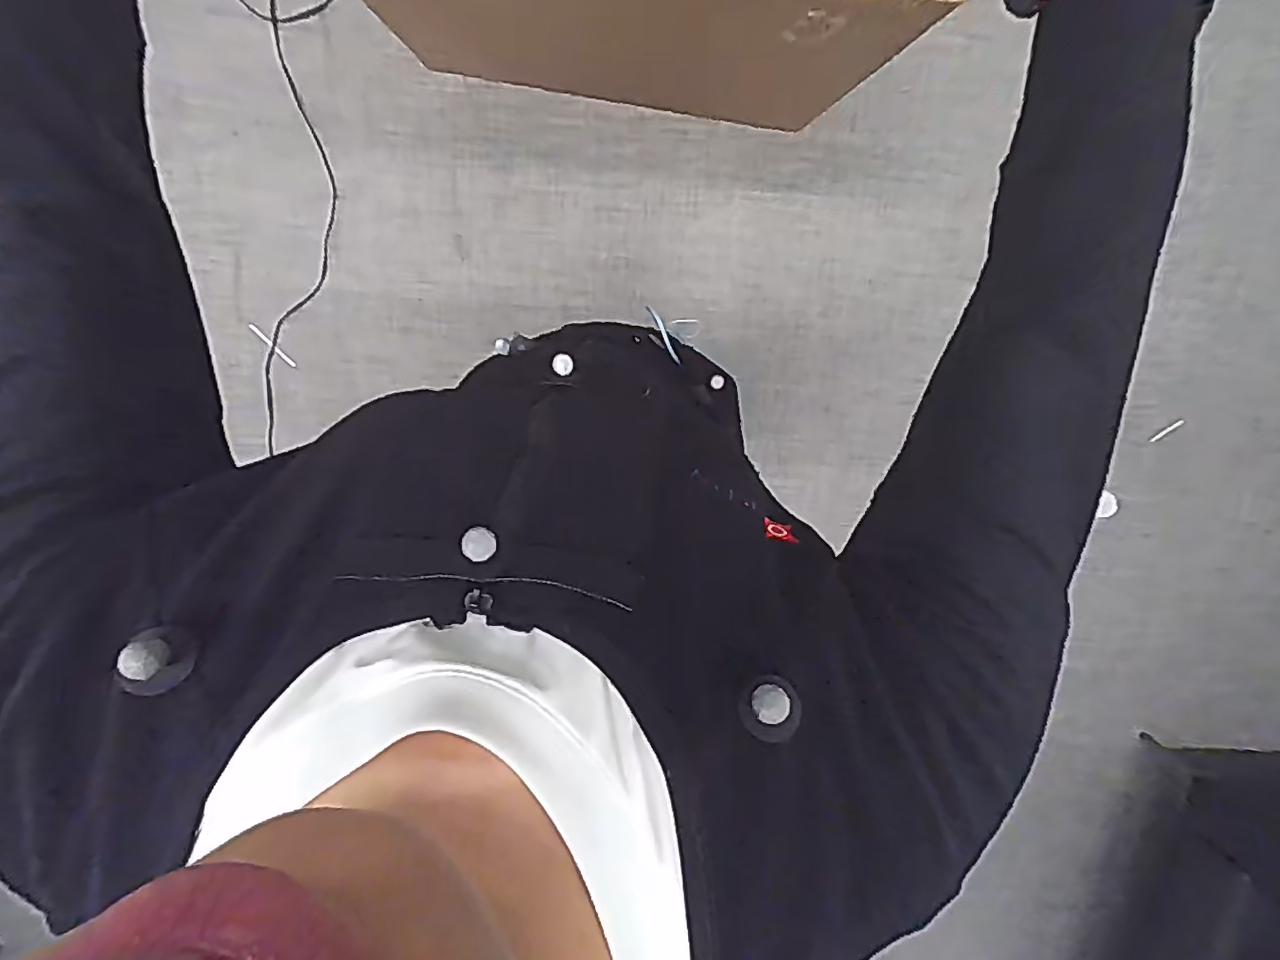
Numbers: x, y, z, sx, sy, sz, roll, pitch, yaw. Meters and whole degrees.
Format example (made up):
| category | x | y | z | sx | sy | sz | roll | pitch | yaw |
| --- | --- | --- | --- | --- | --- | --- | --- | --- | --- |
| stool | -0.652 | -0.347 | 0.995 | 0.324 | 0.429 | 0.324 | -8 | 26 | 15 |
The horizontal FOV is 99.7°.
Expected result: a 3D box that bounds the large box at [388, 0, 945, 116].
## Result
| category | x | y | z | sx | sy | sz | roll | pitch | yaw |
| --- | --- | --- | --- | --- | --- | --- | --- | --- | --- |
| large box | 0.008 | -0.501 | 0.385 | 0.408 | 0.320 | 0.320 | 6 | 112 | -5 |
